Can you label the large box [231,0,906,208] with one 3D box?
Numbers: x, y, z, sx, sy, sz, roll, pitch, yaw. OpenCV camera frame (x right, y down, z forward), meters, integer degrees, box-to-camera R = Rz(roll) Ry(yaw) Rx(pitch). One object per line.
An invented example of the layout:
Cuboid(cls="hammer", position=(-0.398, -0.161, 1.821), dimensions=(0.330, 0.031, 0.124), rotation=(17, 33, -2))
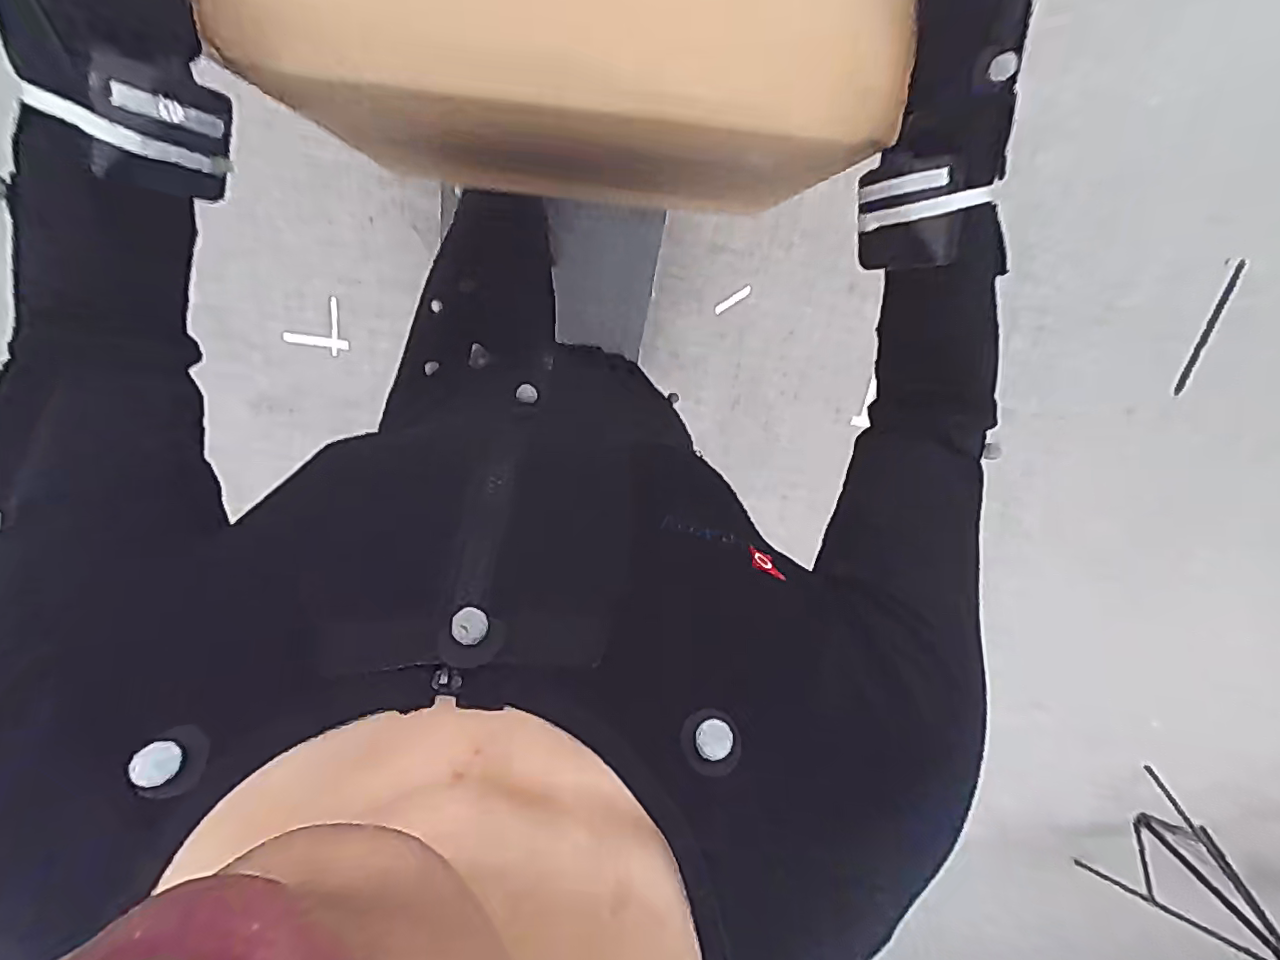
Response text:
Cuboid(cls="large box", position=(-0.041, -0.426, 0.430), dimensions=(0.408, 0.320, 0.320), rotation=(3, 108, -6))
